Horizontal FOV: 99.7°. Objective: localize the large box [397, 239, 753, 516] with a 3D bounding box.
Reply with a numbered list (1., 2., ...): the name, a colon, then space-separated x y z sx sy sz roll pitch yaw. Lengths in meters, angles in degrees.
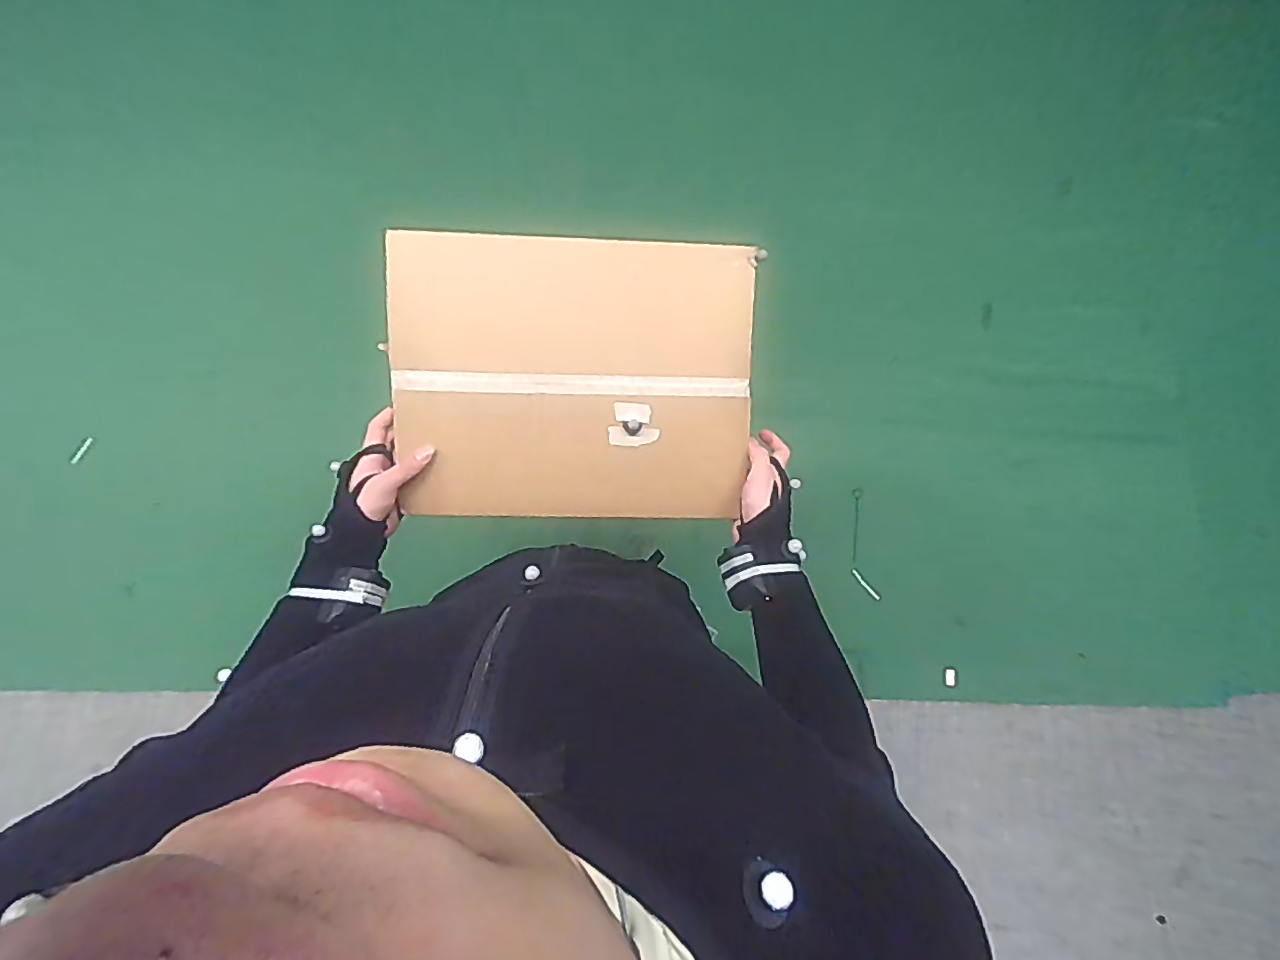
1. large box: -0.082 -0.134 0.772 0.408 0.320 0.320 0 99 -5
